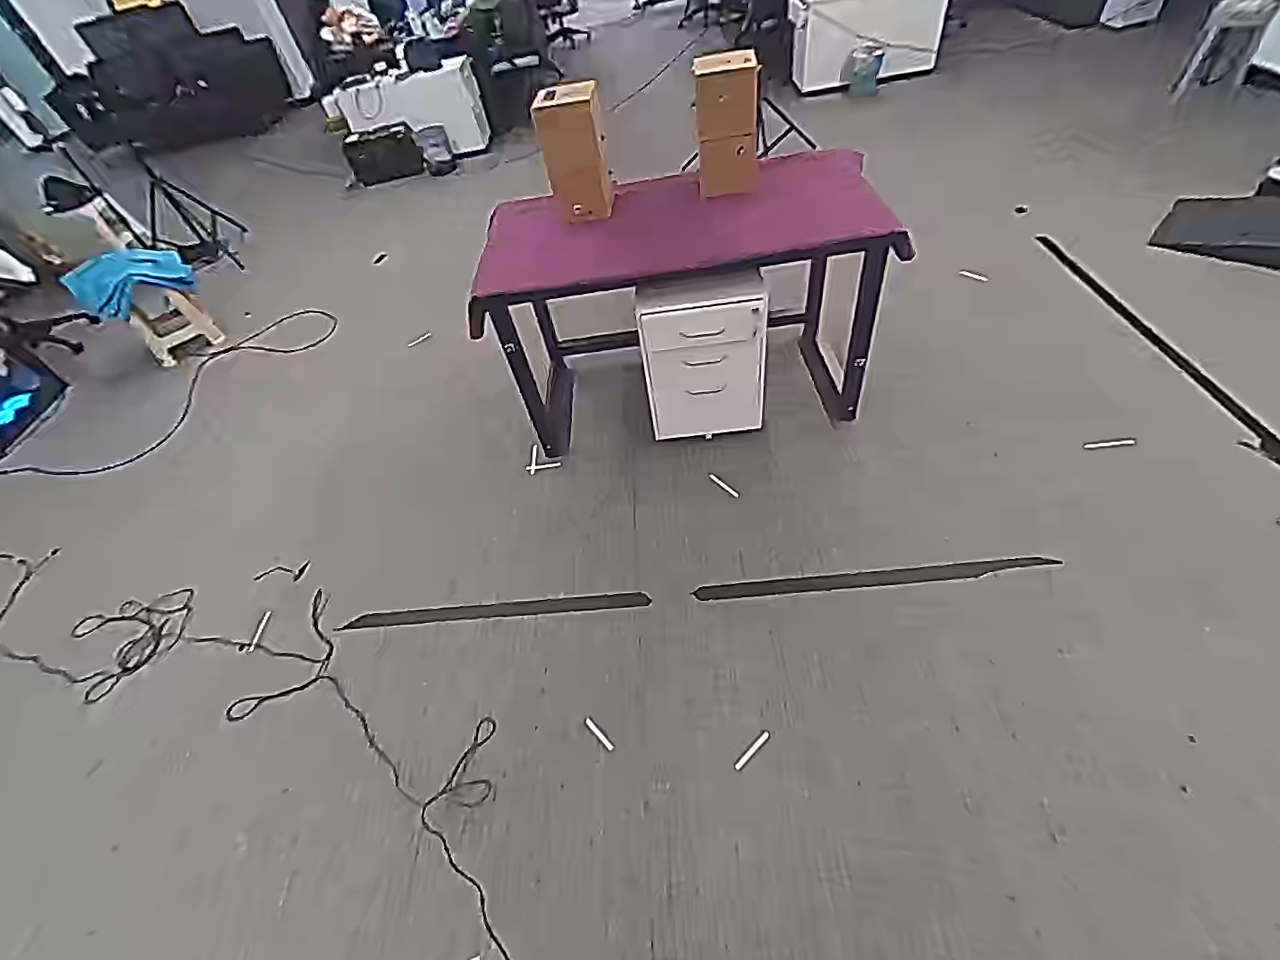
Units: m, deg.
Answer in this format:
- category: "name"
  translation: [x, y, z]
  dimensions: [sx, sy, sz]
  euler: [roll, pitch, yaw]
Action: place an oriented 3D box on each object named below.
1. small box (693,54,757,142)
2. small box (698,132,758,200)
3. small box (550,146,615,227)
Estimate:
- category: "small box"
  translation: [0.254, -1.128, 1.604]
  dimensions: [0.179, 0.176, 0.168]
  euler: [-4, 51, 9]
- category: "small box"
  translation: [0.279, -1.022, 1.727]
  dimensions: [0.179, 0.176, 0.168]
  euler: [-4, 50, 8]
- category: "small box"
  translation: [-0.179, -0.953, 1.759]
  dimensions: [0.168, 0.176, 0.179]
  euler: [-3, 52, 10]
